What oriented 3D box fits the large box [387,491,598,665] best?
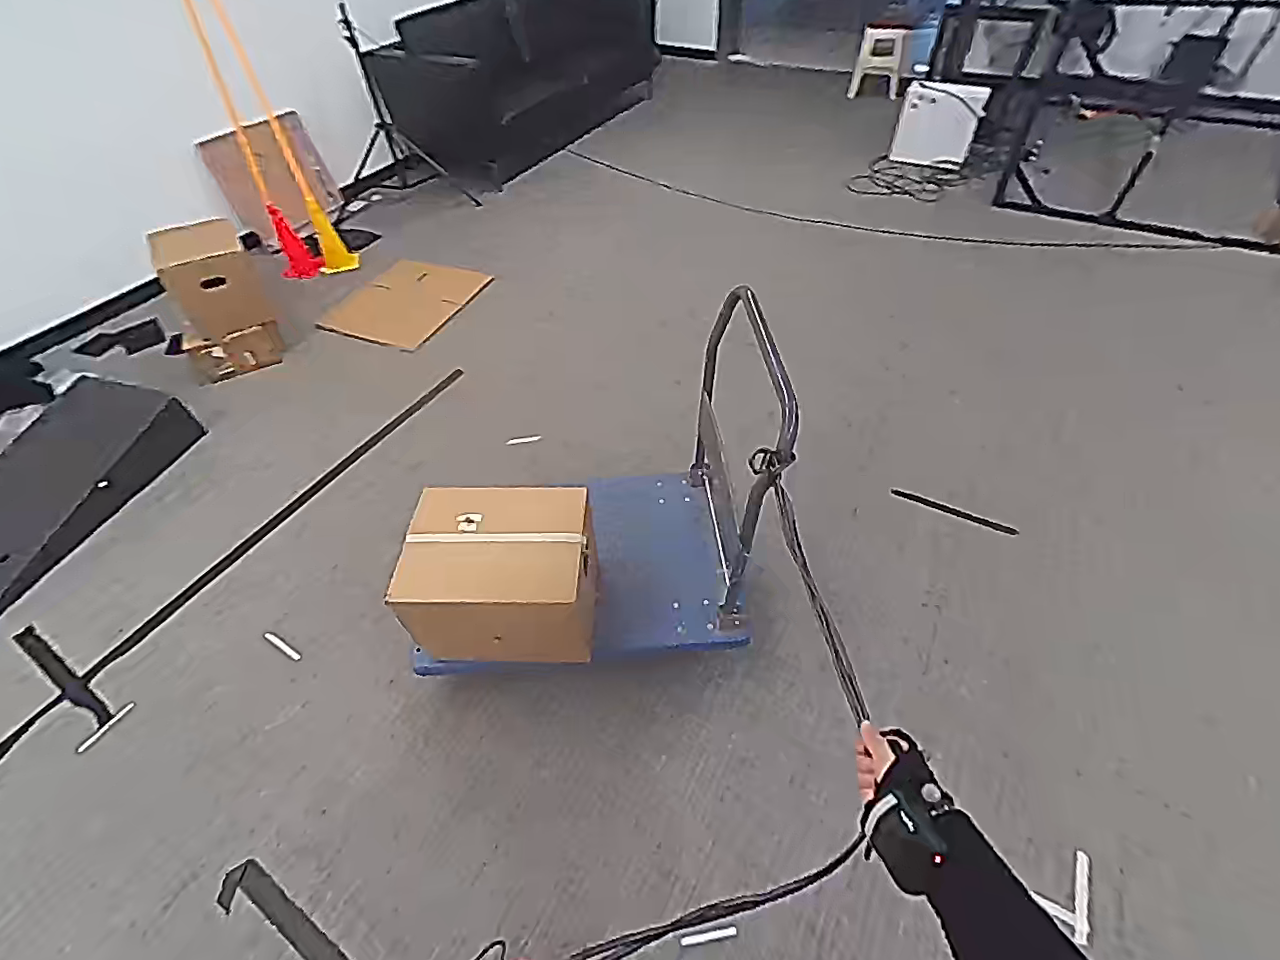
[{"bbox_3d":[-0.319,0.245,1.319,0.408,0.320,0.320,-1,48,2],"label":"large box"}]
